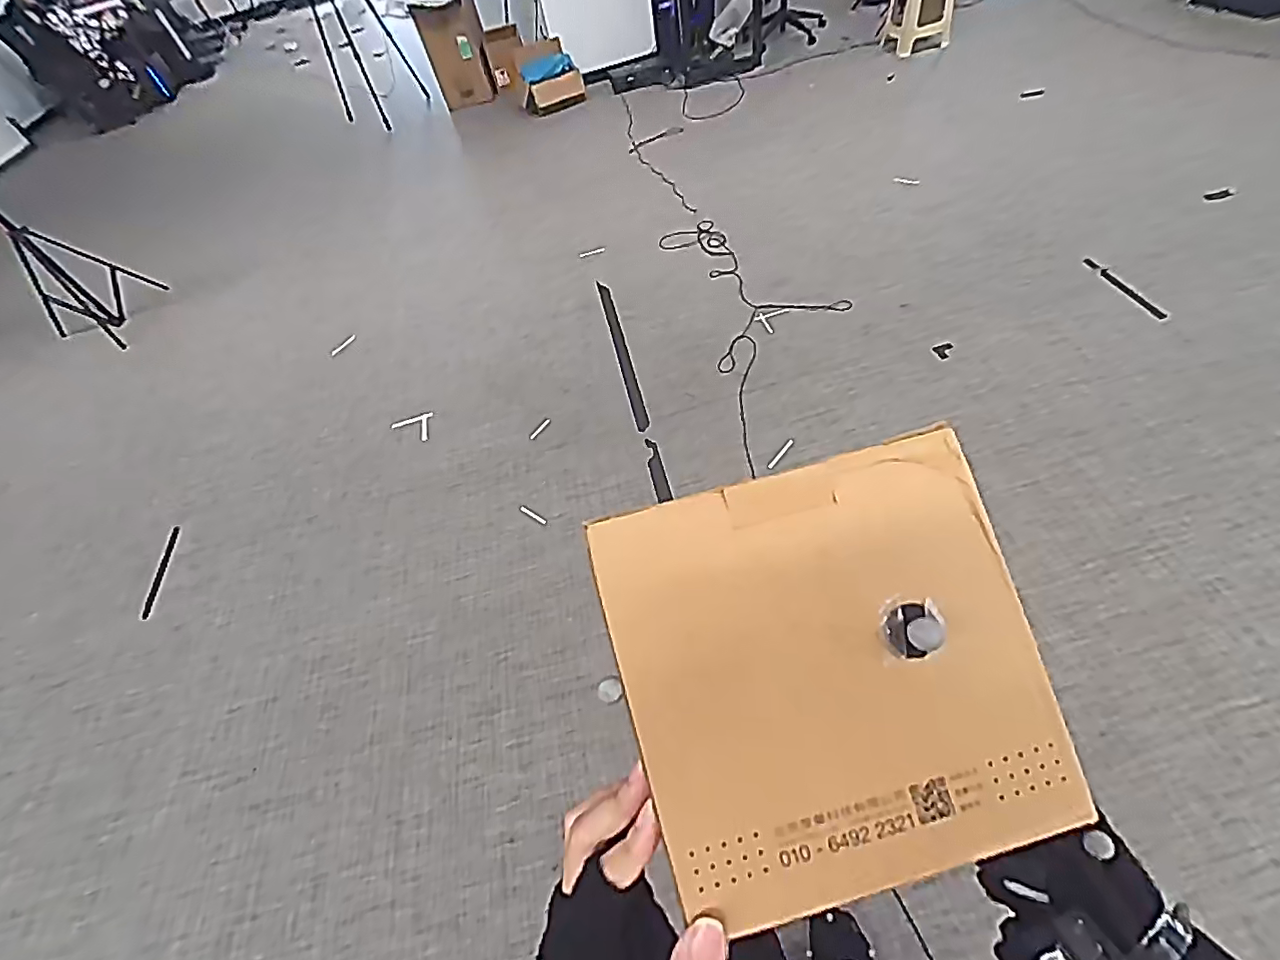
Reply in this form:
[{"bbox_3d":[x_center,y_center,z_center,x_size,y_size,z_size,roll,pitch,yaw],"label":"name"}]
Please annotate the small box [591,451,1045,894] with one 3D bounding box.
[{"bbox_3d":[0.079,0.099,0.314,0.168,0.179,0.176,-15,82,-1],"label":"small box"}]
